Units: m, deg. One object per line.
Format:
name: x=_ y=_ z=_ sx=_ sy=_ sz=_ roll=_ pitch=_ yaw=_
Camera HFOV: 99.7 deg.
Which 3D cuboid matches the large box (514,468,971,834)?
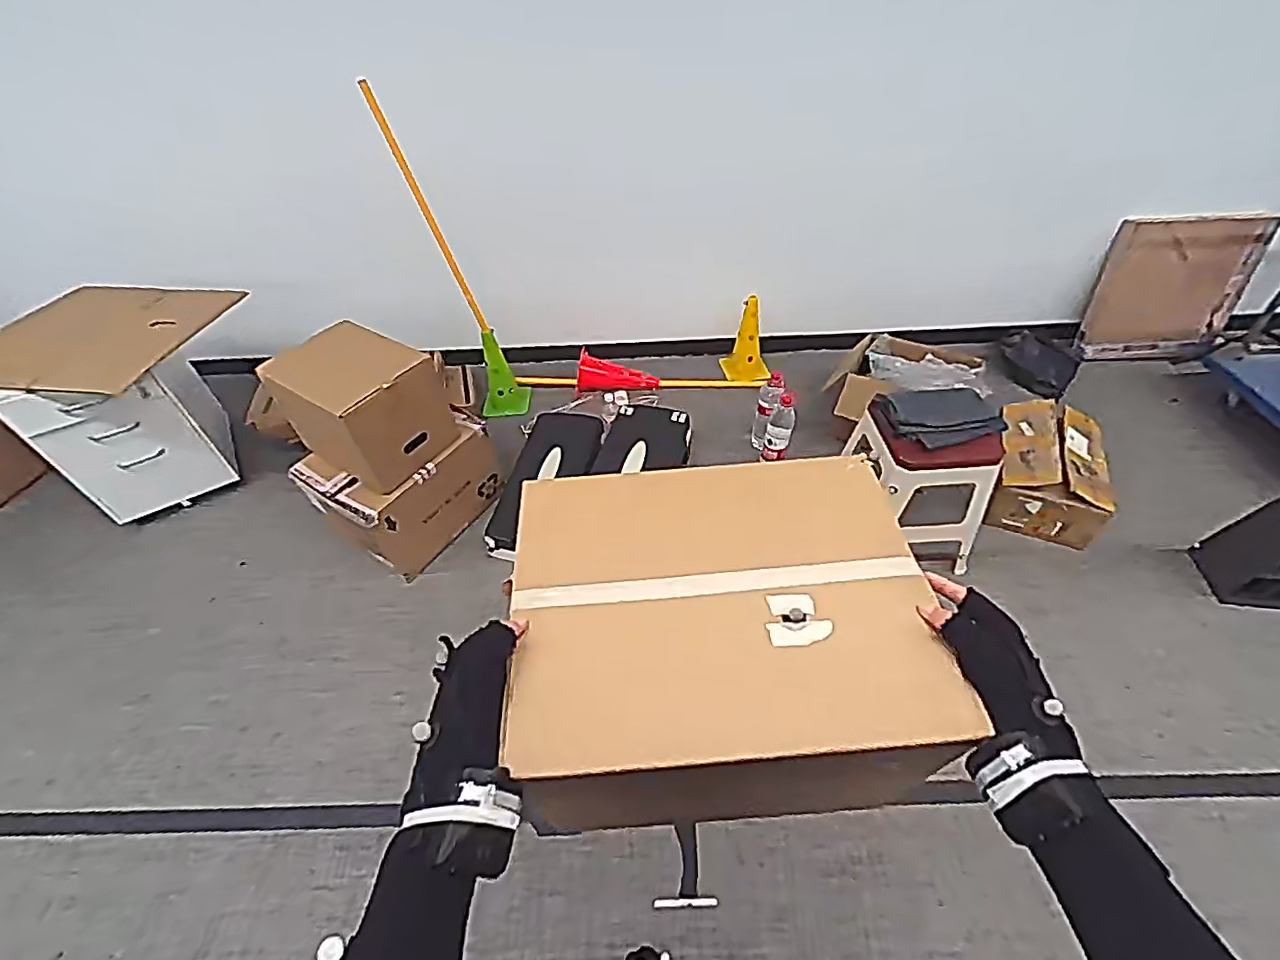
large box: x=0.081 y=0.214 z=0.665 sx=0.408 sy=0.320 sz=0.320 roll=-5 pitch=50 yaw=-1
